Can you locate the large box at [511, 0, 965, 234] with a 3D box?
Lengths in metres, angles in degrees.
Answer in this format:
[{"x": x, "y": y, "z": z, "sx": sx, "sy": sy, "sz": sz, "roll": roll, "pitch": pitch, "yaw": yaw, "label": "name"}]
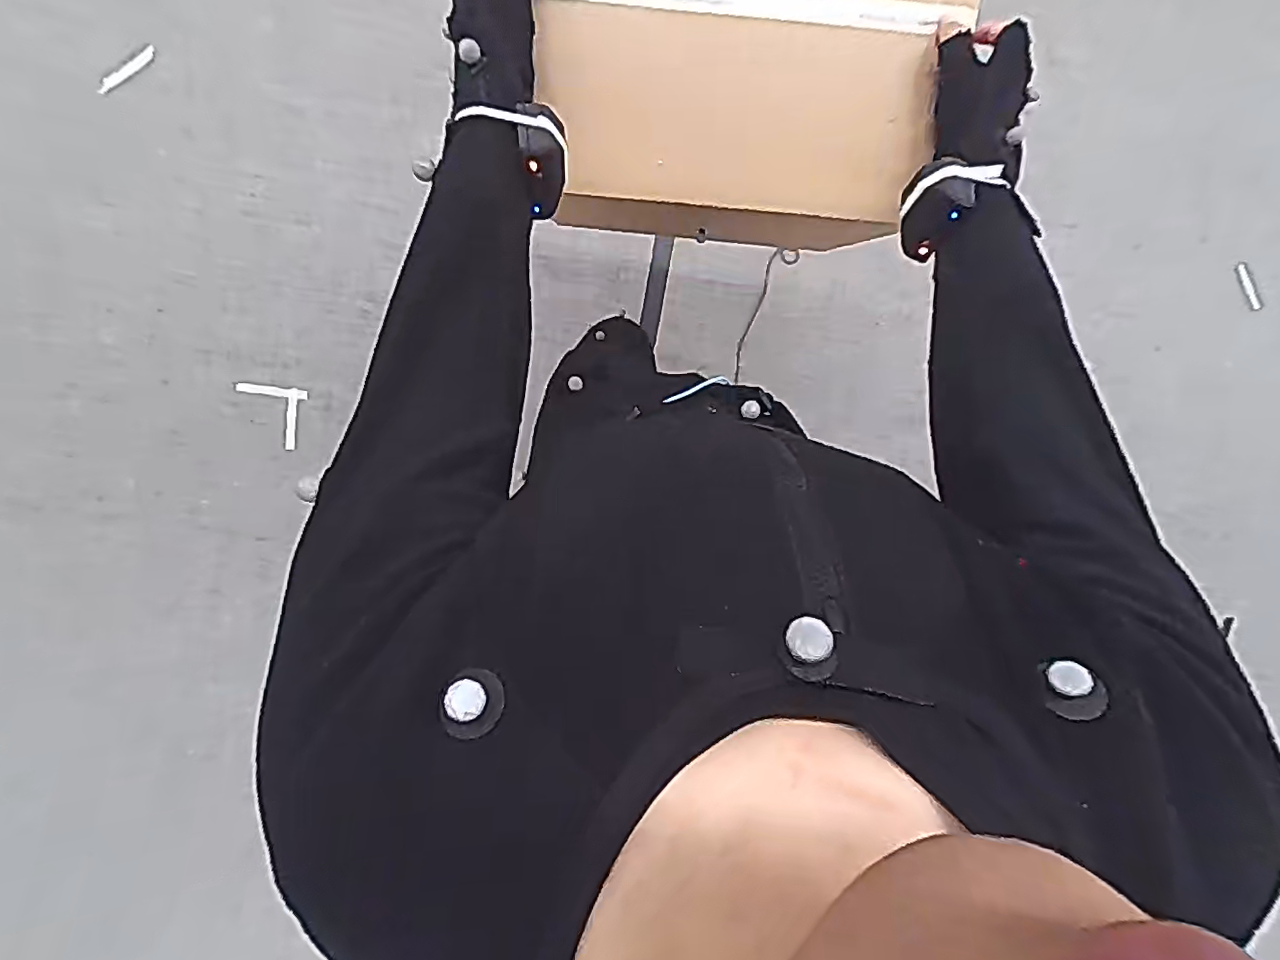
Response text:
[{"x": 0.088, "y": -0.470, "z": 0.613, "sx": 0.408, "sy": 0.320, "sz": 0.320, "roll": 5, "pitch": 108, "yaw": -1, "label": "large box"}]
